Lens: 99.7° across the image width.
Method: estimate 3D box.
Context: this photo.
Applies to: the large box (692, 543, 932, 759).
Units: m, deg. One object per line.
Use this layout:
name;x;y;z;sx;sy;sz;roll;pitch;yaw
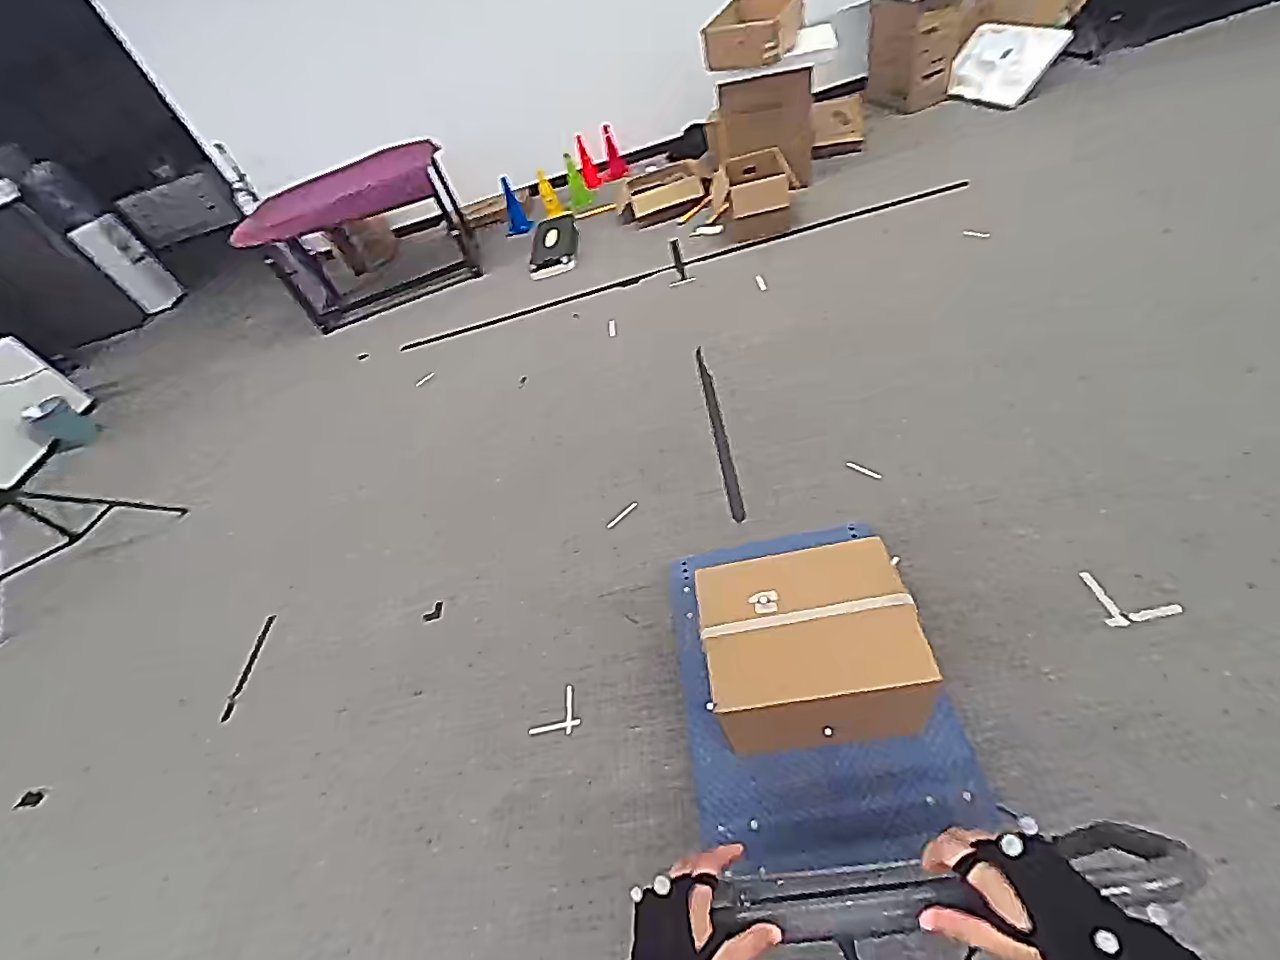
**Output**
large box;0.358;0.385;1.191;0.408;0.320;0.320;-13;46;9
